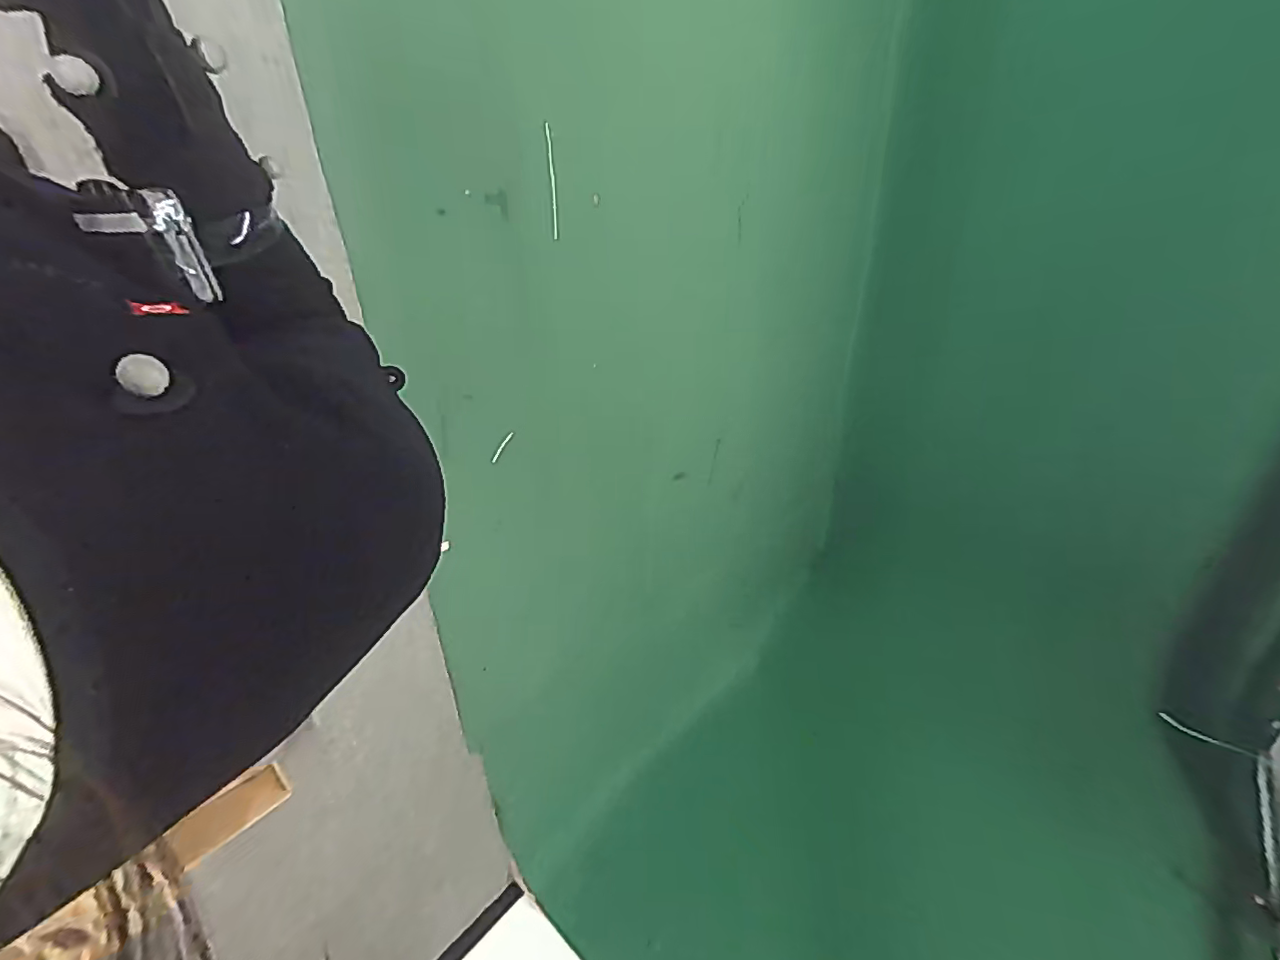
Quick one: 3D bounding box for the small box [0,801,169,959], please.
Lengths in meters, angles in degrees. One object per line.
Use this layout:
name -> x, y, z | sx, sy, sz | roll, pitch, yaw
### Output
small box -> -1.043, 0.762, 1.017 | 0.179, 0.176, 0.168 | -30, 129, -40
